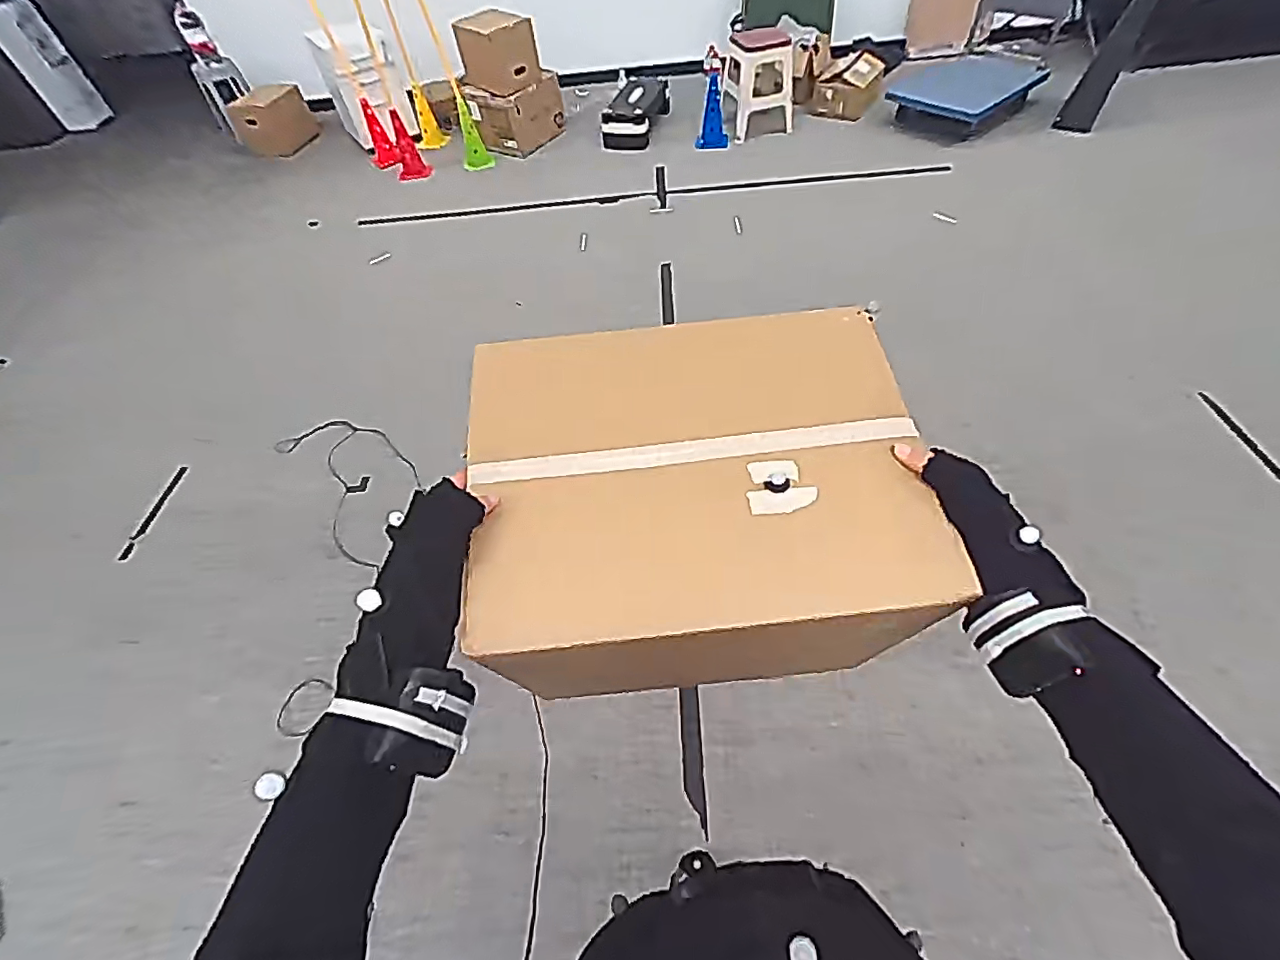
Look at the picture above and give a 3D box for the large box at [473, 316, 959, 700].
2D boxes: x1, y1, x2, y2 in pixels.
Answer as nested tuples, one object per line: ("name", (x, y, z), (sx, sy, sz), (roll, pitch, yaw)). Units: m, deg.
("large box", (0.051, 0.052, 0.631), (0.408, 0.320, 0.320), (-6, 62, -1))
